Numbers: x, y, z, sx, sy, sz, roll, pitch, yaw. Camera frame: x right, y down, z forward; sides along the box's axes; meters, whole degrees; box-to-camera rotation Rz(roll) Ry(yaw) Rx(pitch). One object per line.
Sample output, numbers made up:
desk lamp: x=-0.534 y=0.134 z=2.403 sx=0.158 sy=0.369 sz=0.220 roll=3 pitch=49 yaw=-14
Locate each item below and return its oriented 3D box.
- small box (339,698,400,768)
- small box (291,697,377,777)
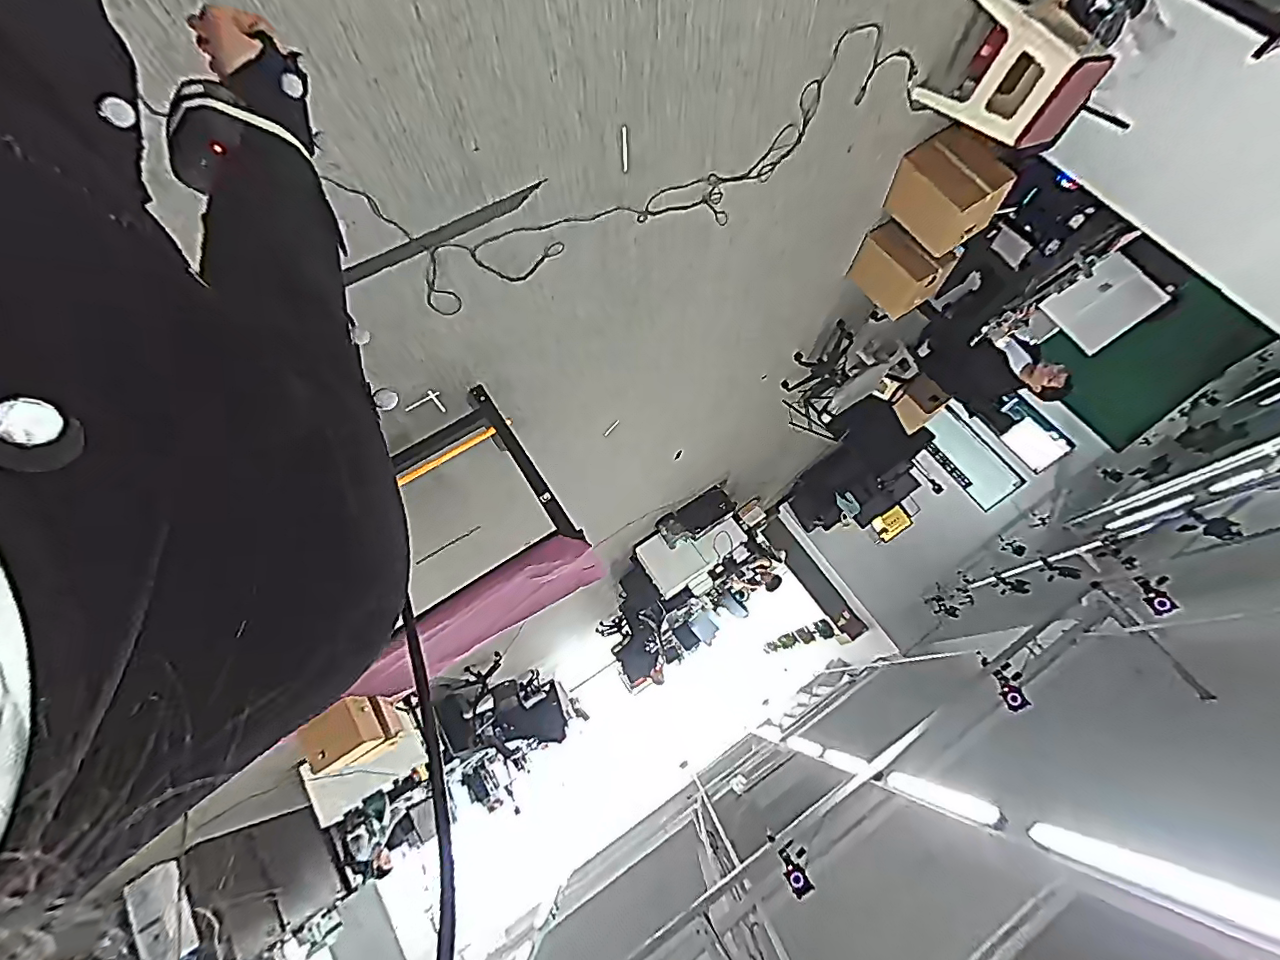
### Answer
small box: x=-1.022 y=0.924 z=1.985 sx=0.179 sy=0.176 sz=0.168 roll=-29 pitch=159 yaw=-17
small box: x=-1.022 y=0.849 z=1.799 sx=0.179 sy=0.176 sz=0.168 roll=-32 pitch=163 yaw=-14
